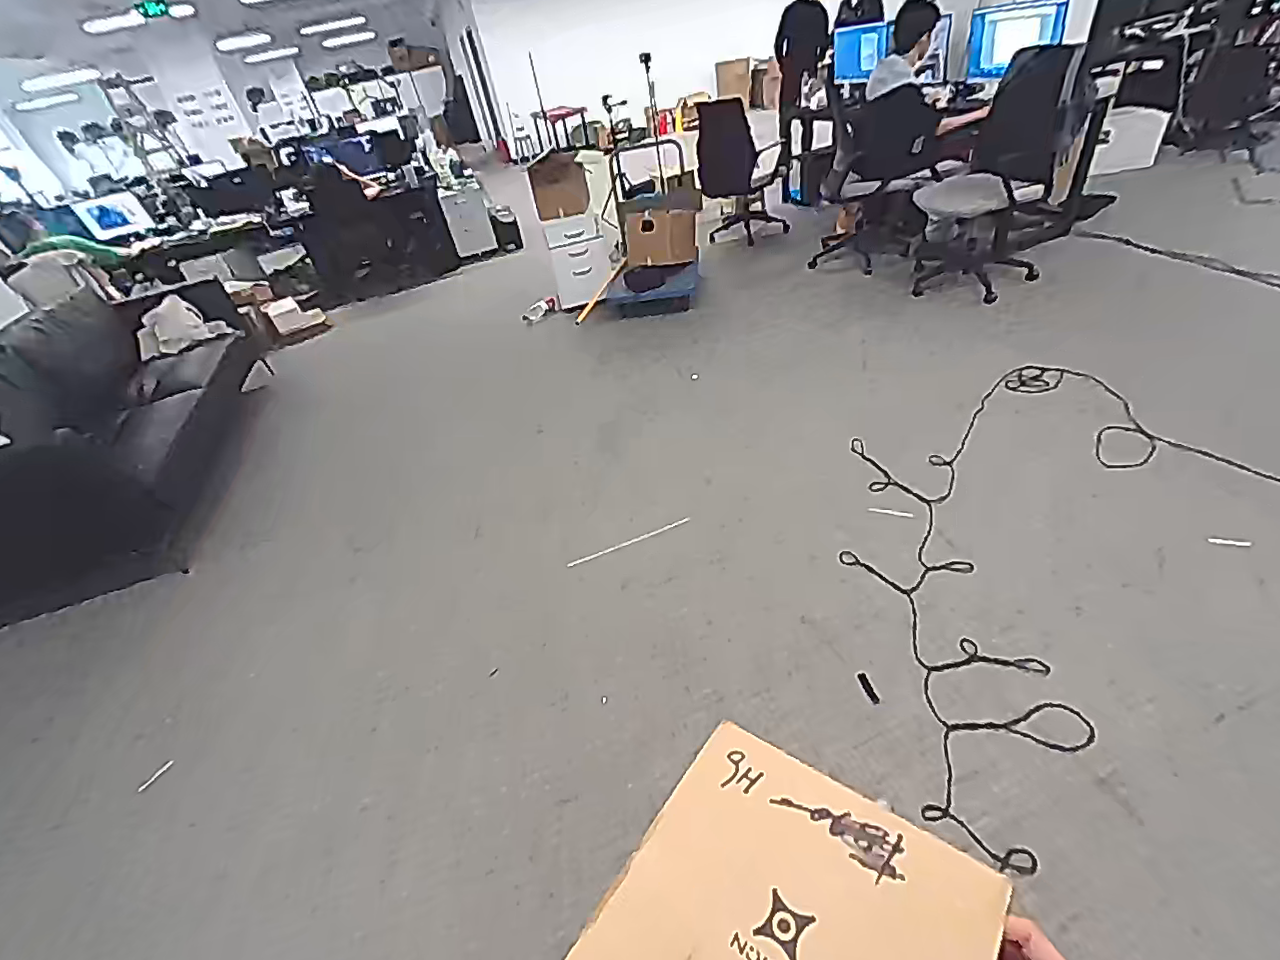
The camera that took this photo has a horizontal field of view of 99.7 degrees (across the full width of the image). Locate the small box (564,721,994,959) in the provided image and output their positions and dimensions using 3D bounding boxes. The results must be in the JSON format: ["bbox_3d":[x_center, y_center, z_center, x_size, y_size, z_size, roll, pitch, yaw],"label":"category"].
[{"bbox_3d":[0.083,0.291,0.313,0.168,0.176,0.179,15,45,38],"label":"small box"}]
